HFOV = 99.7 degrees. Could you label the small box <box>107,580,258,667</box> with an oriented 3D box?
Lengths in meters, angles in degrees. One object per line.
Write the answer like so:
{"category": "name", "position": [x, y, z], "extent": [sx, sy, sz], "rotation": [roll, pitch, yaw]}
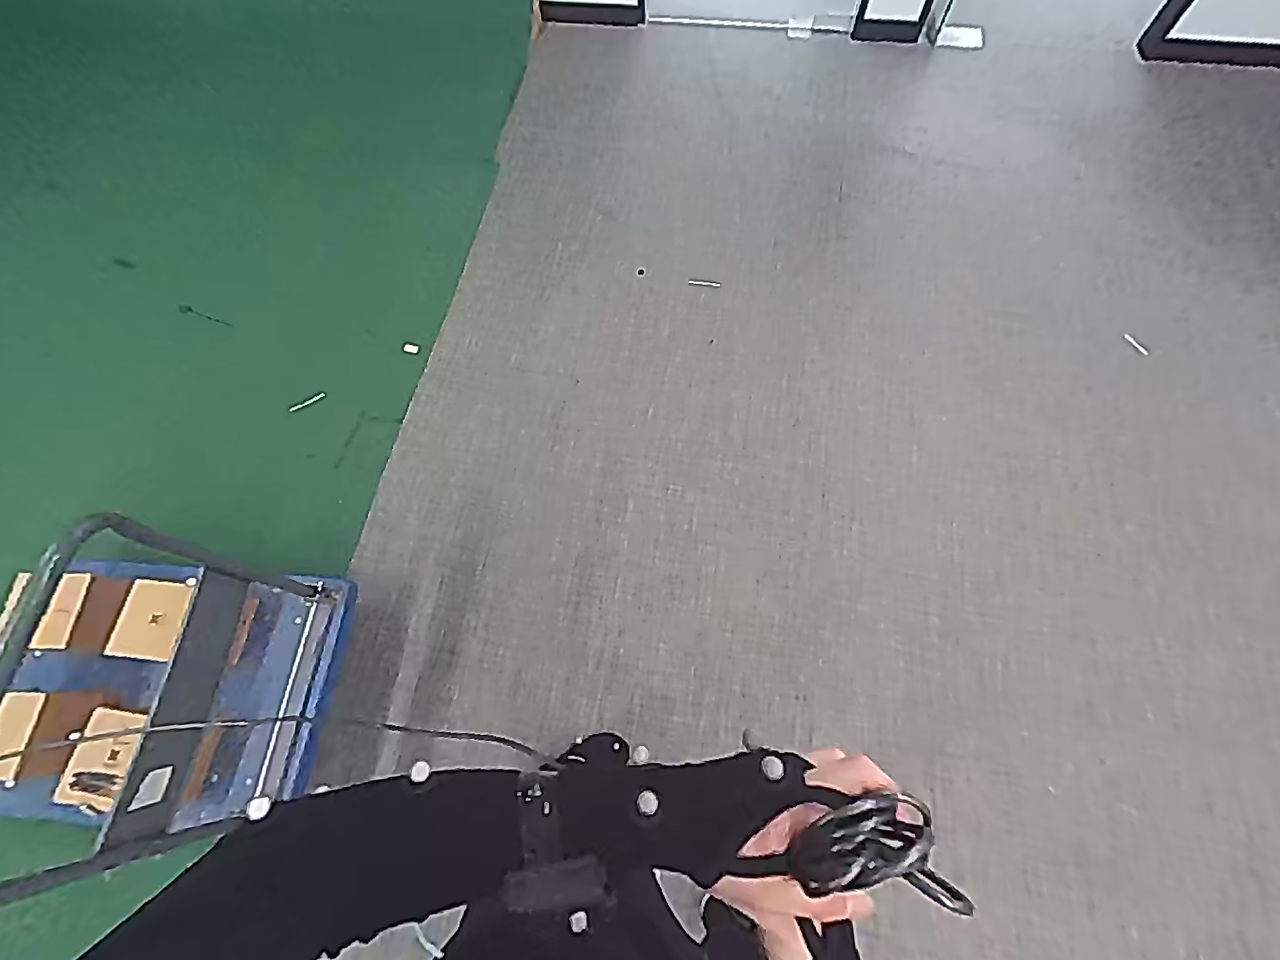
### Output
{"category": "small box", "position": [-1.049, 0.338, 1.257], "extent": [0.179, 0.176, 0.168], "rotation": [5, 68, 4]}

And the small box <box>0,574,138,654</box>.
{"category": "small box", "position": [-1.318, 0.320, 1.273], "extent": [0.179, 0.176, 0.168], "rotation": [1, 69, 2]}
